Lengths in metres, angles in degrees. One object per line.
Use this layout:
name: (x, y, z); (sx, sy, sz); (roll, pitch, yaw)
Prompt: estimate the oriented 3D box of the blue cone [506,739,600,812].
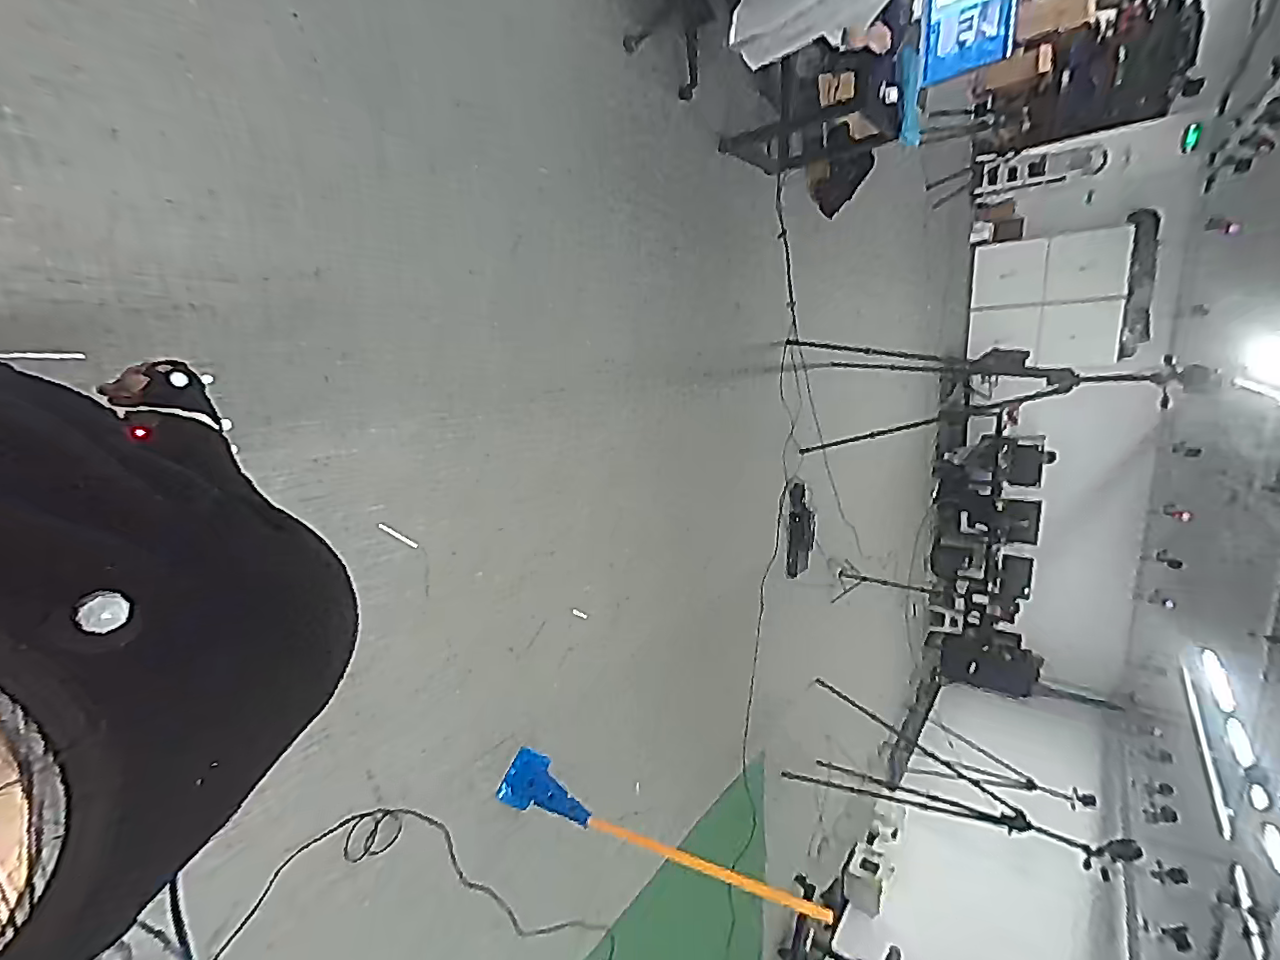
blue cone: (-0.302, 1.129, 2.003); (0.192, 0.380, 0.193); (52, 55, -41)
